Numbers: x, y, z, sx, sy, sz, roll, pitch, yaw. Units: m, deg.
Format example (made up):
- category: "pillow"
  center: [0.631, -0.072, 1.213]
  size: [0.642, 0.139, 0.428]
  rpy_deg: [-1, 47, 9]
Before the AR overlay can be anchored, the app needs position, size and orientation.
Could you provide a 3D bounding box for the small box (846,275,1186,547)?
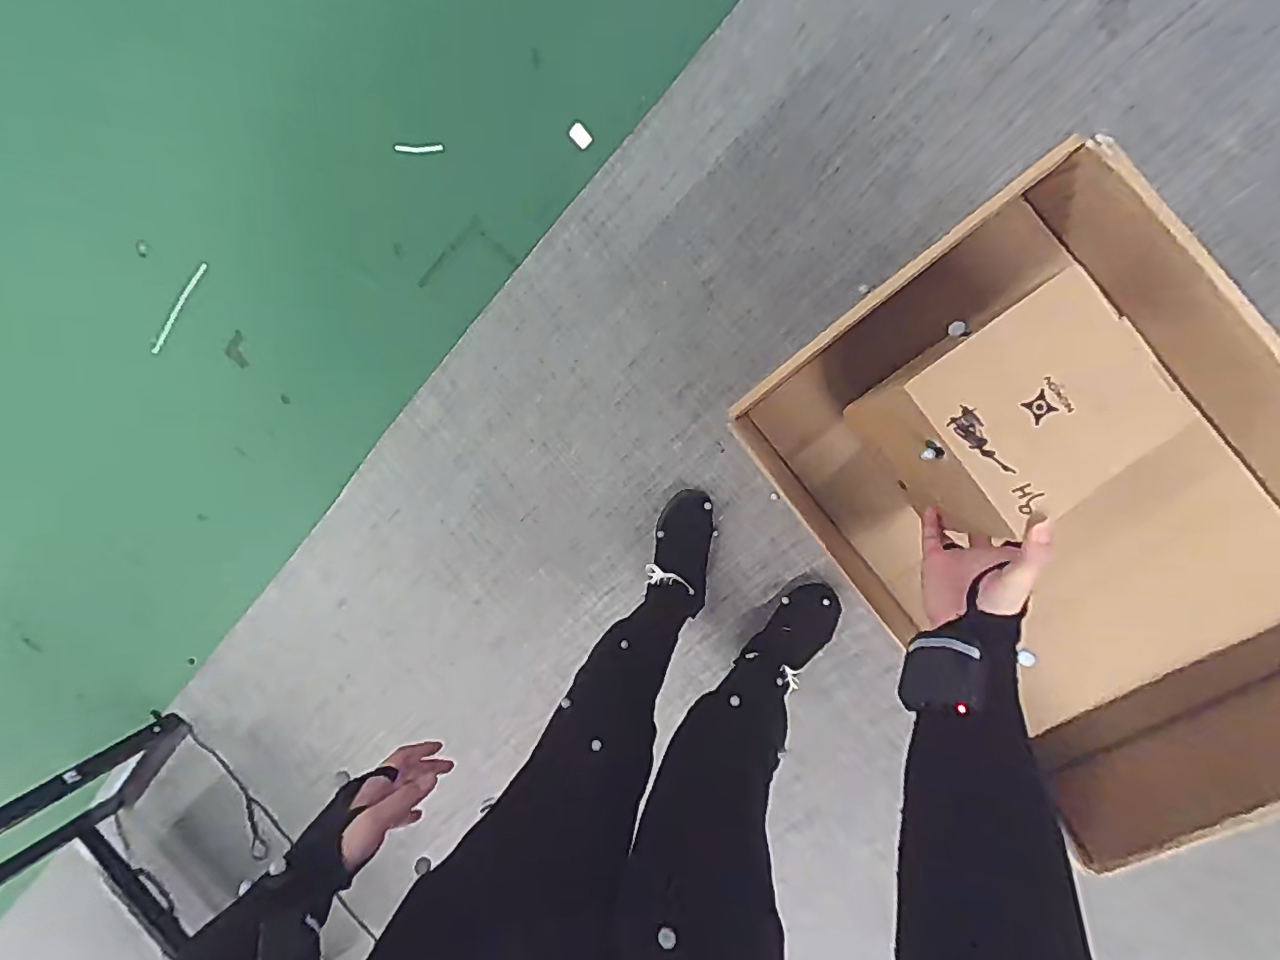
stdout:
- category: "small box"
  center: [0.338, -0.058, 0.528]
  size: [0.179, 0.176, 0.168]
  rpy_deg: [-35, 87, 2]
